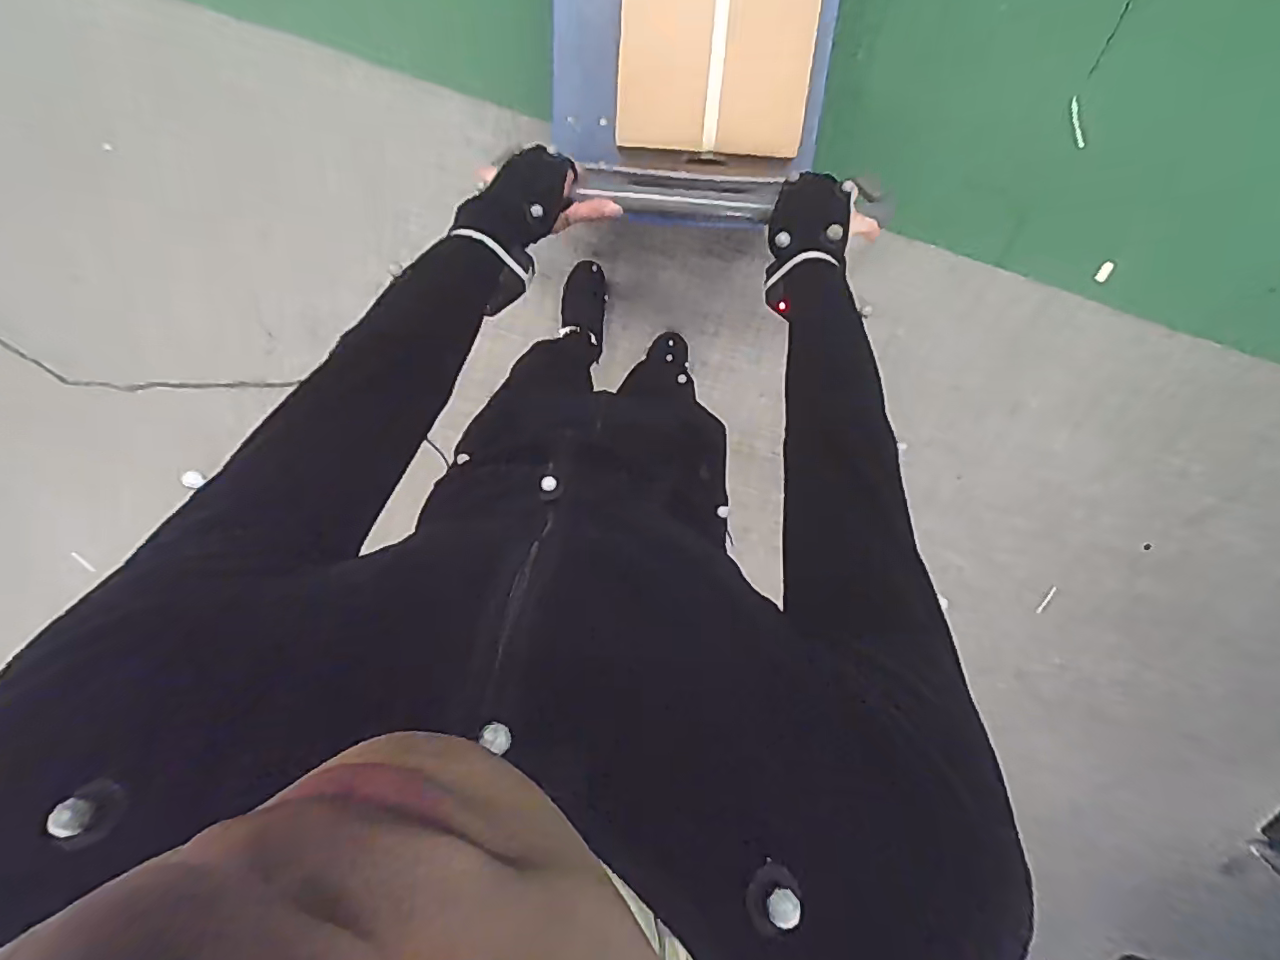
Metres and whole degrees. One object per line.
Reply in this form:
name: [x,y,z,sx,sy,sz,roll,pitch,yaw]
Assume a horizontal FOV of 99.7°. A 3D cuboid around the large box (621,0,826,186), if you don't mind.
large box: [0.139,-0.784,0.981,0.320,0.320,0.408,4,111,0]
